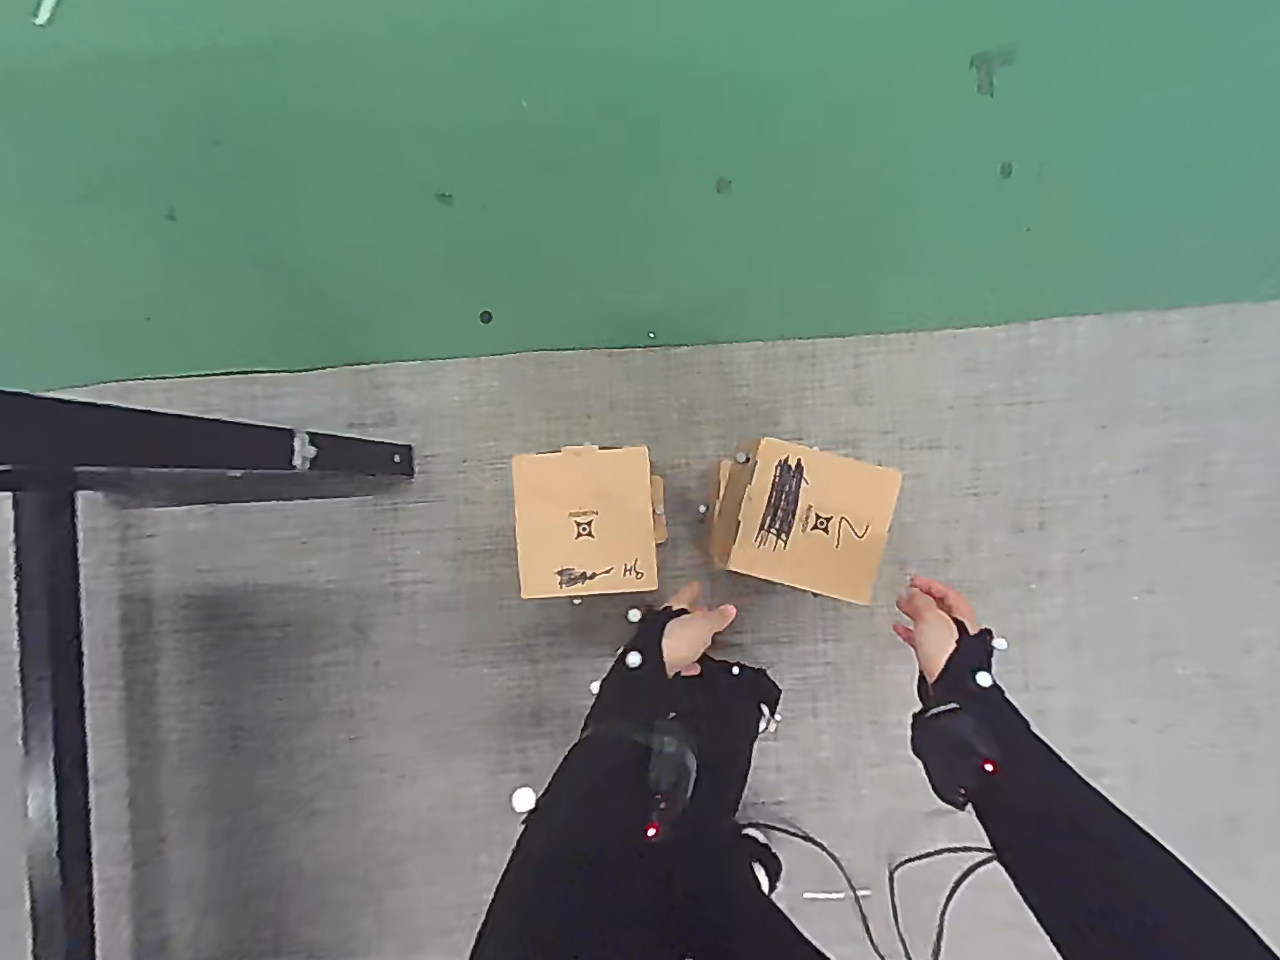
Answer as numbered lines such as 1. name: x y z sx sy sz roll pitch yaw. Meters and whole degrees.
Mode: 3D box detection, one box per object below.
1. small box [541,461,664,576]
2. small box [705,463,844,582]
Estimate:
1. small box: -0.056 0.057 0.887 0.179 0.176 0.168 -5 90 2
2. small box: 0.209 0.062 0.882 0.179 0.176 0.168 6 90 0
